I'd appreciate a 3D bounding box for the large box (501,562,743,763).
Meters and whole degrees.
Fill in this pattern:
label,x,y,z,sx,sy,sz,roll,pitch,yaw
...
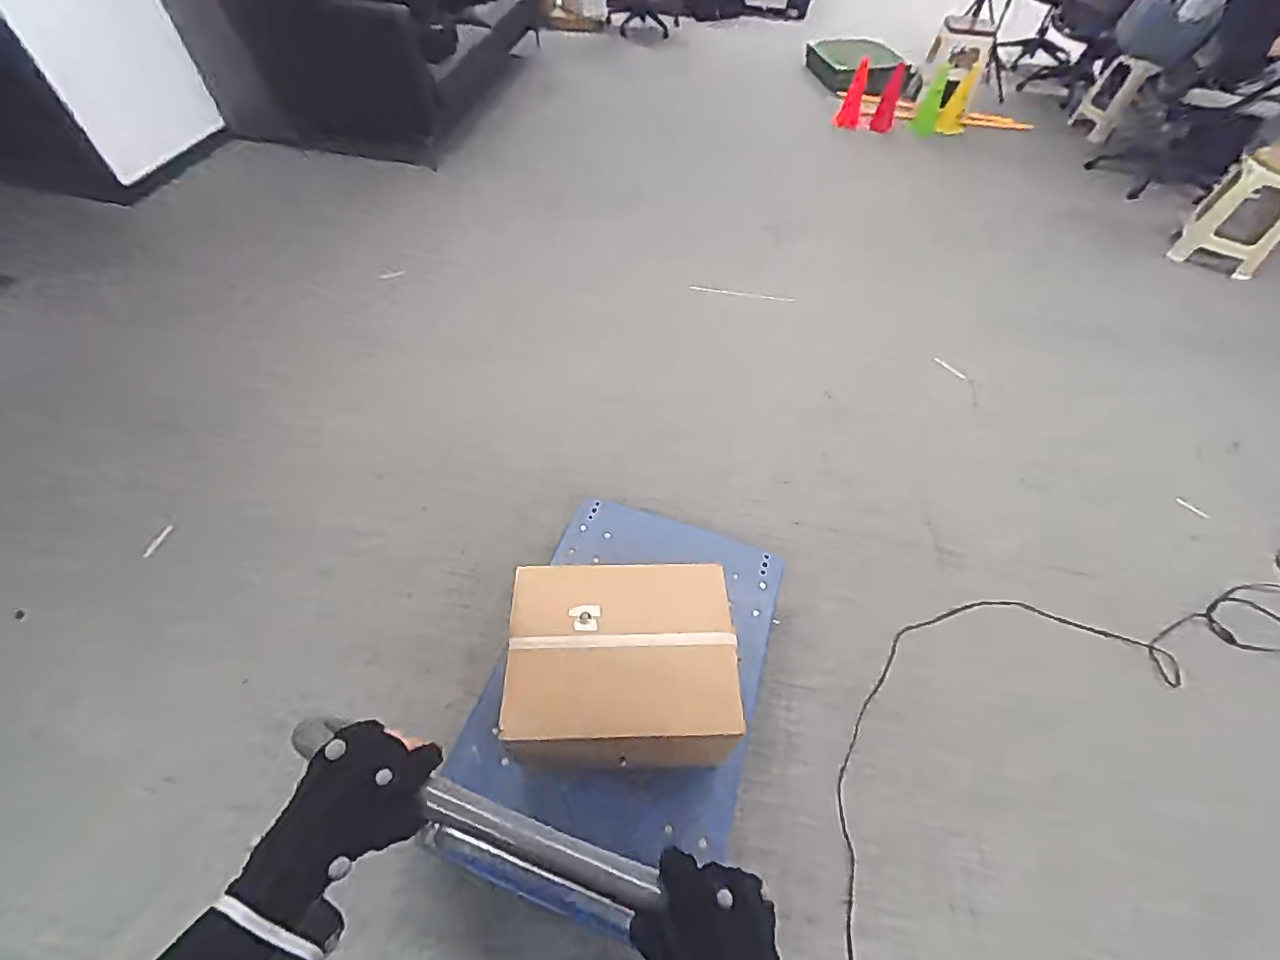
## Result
label,x,y,z,sx,sy,sz,roll,pitch,yaw
large box,-0.034,0.375,1.090,0.408,0.320,0.320,0,53,-2
